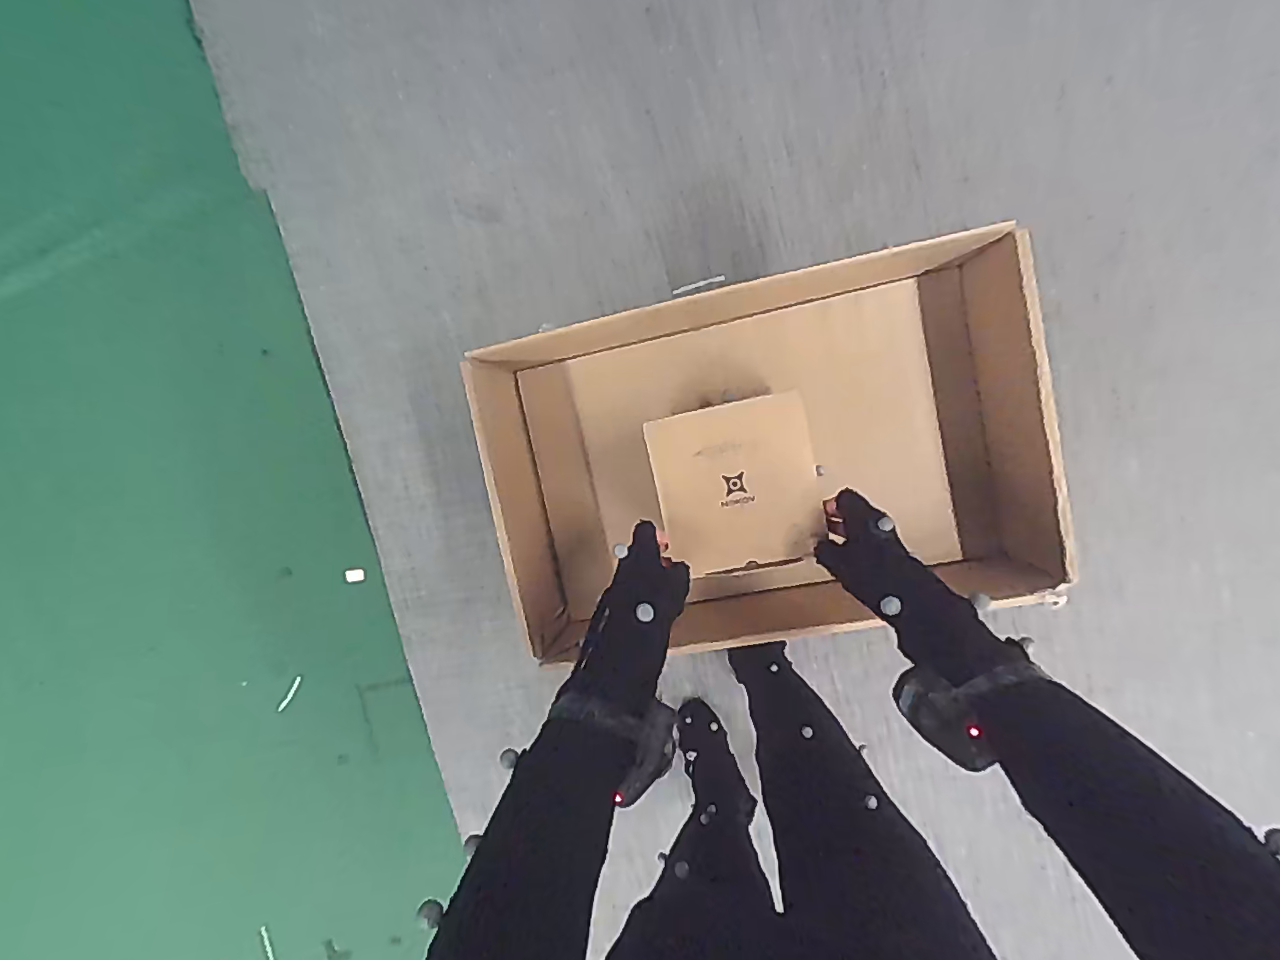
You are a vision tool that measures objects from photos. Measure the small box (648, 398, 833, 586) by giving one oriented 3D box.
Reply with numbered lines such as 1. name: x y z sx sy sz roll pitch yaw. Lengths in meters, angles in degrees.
1. small box: 0.118 0.007 0.641 0.168 0.176 0.179 -13 93 10
